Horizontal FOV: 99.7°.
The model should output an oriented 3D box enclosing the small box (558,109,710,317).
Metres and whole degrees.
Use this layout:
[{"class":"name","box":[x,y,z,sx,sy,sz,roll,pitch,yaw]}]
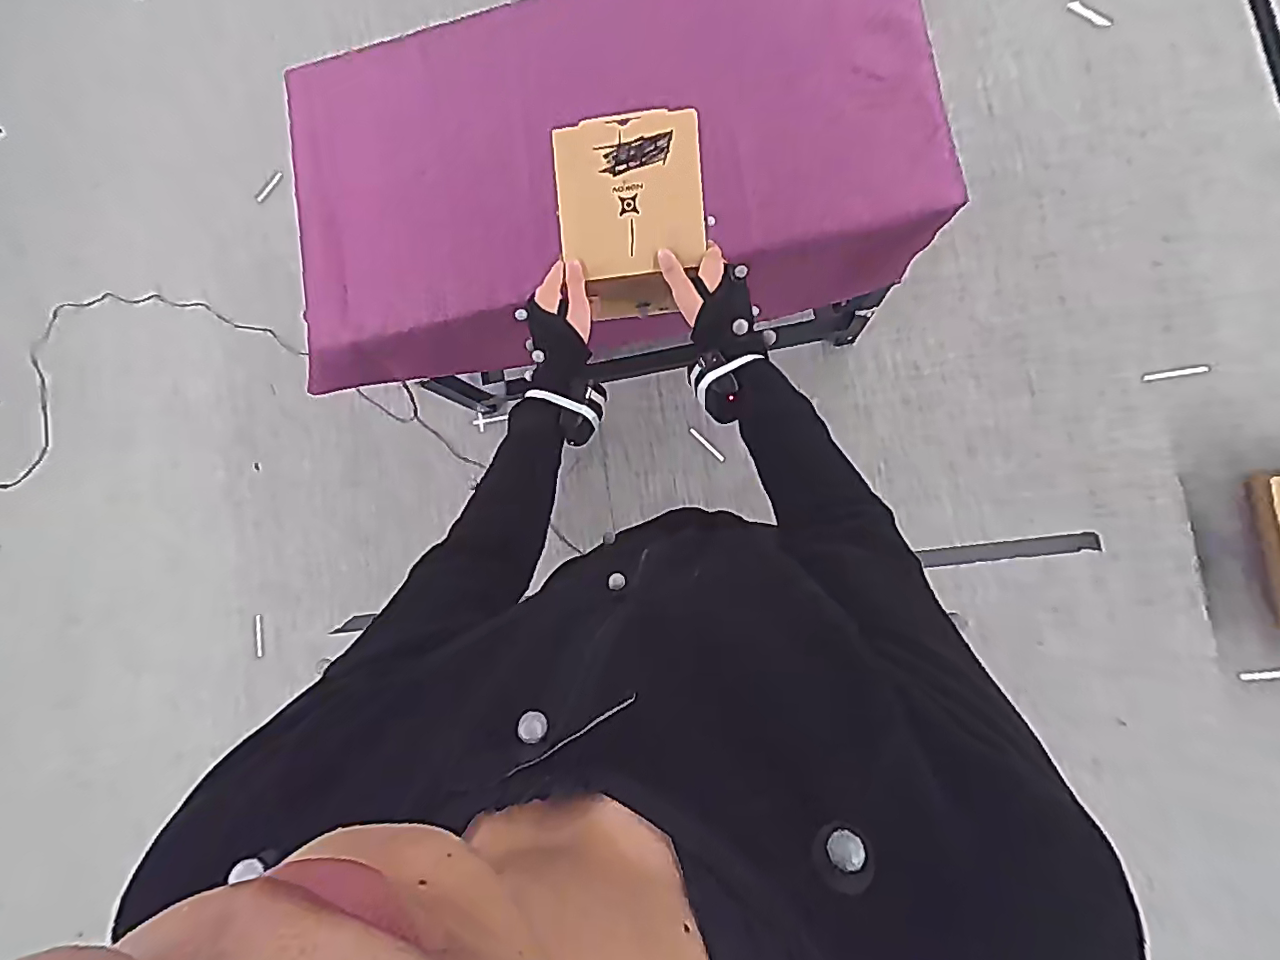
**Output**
[{"class":"small box","box":[0.000,-0.325,0.693,0.168,0.176,0.179,-5,92,7]}]
